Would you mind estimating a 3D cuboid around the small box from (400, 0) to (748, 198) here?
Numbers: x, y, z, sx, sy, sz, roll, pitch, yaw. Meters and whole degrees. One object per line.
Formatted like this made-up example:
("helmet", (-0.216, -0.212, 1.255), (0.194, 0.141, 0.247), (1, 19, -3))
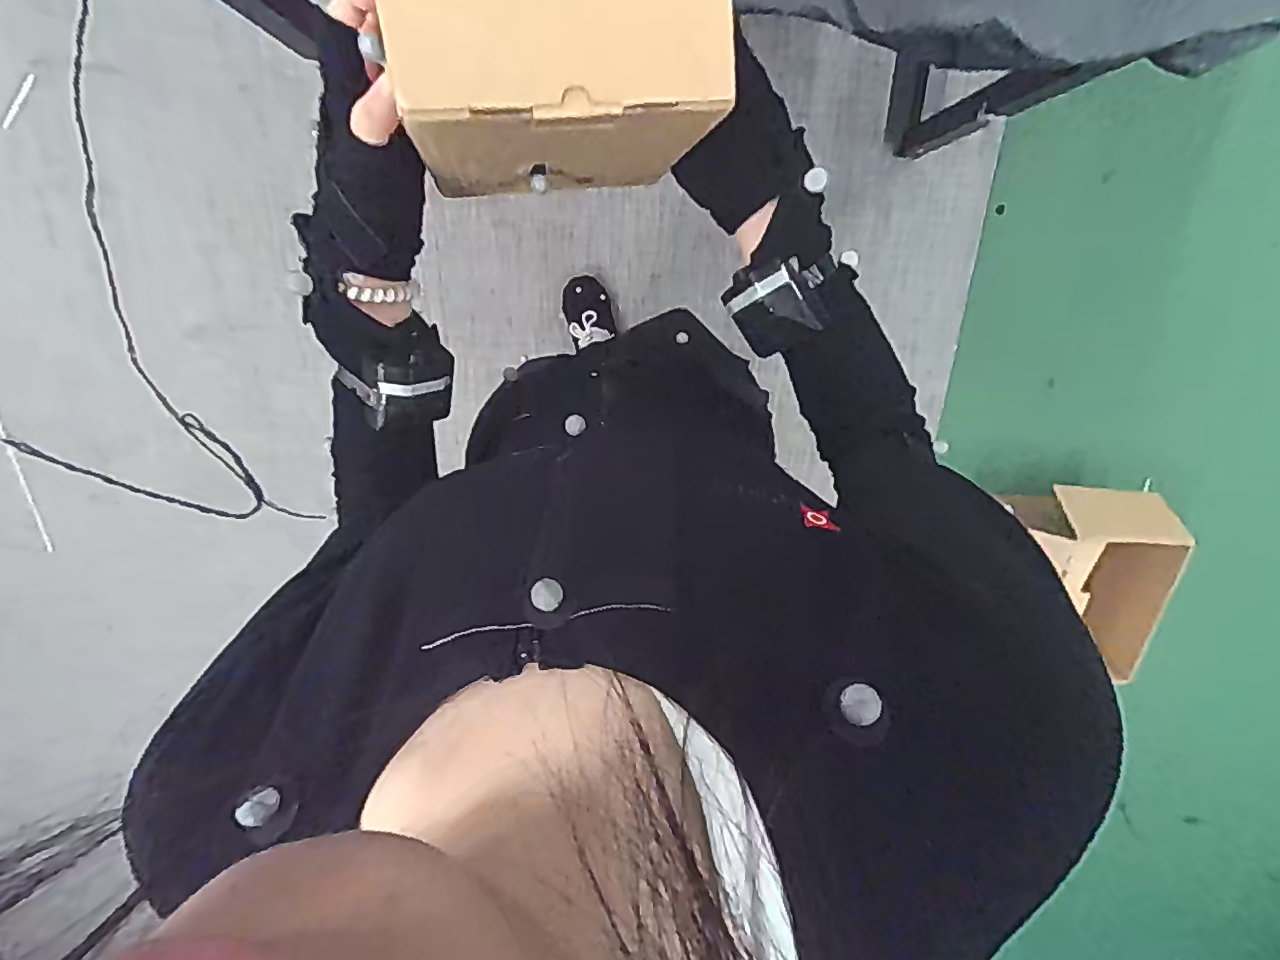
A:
("small box", (-0.051, -0.280, 0.312), (0.168, 0.176, 0.179), (-10, 109, -12))
